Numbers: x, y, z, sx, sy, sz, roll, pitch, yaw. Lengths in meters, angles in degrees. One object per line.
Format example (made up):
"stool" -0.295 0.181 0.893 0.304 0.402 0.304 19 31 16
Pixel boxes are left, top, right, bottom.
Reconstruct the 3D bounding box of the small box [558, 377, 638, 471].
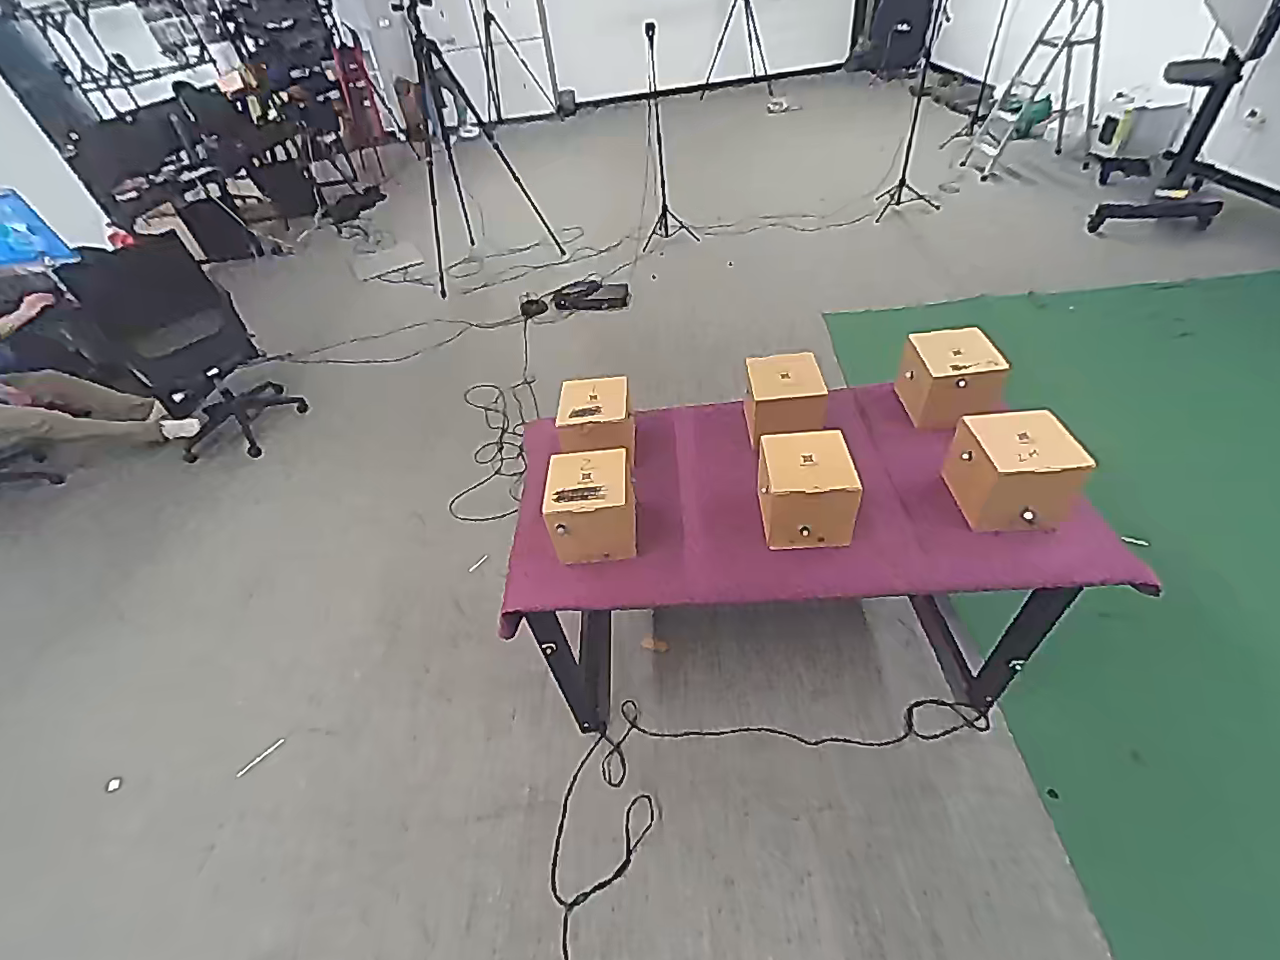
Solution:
"small box" -0.097 -0.133 1.354 0.168 0.176 0.179 -4 45 5

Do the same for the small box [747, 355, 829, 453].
"small box" 0.357 -0.187 1.337 0.168 0.176 0.179 -4 46 6

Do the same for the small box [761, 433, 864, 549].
"small box" 0.346 0.024 1.122 0.168 0.176 0.179 -3 43 6

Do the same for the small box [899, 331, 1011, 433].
"small box" 0.752 -0.237 1.315 0.168 0.176 0.179 -6 45 7

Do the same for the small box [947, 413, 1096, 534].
"small box" 0.747 -0.012 1.085 0.168 0.176 0.179 -4 43 7
